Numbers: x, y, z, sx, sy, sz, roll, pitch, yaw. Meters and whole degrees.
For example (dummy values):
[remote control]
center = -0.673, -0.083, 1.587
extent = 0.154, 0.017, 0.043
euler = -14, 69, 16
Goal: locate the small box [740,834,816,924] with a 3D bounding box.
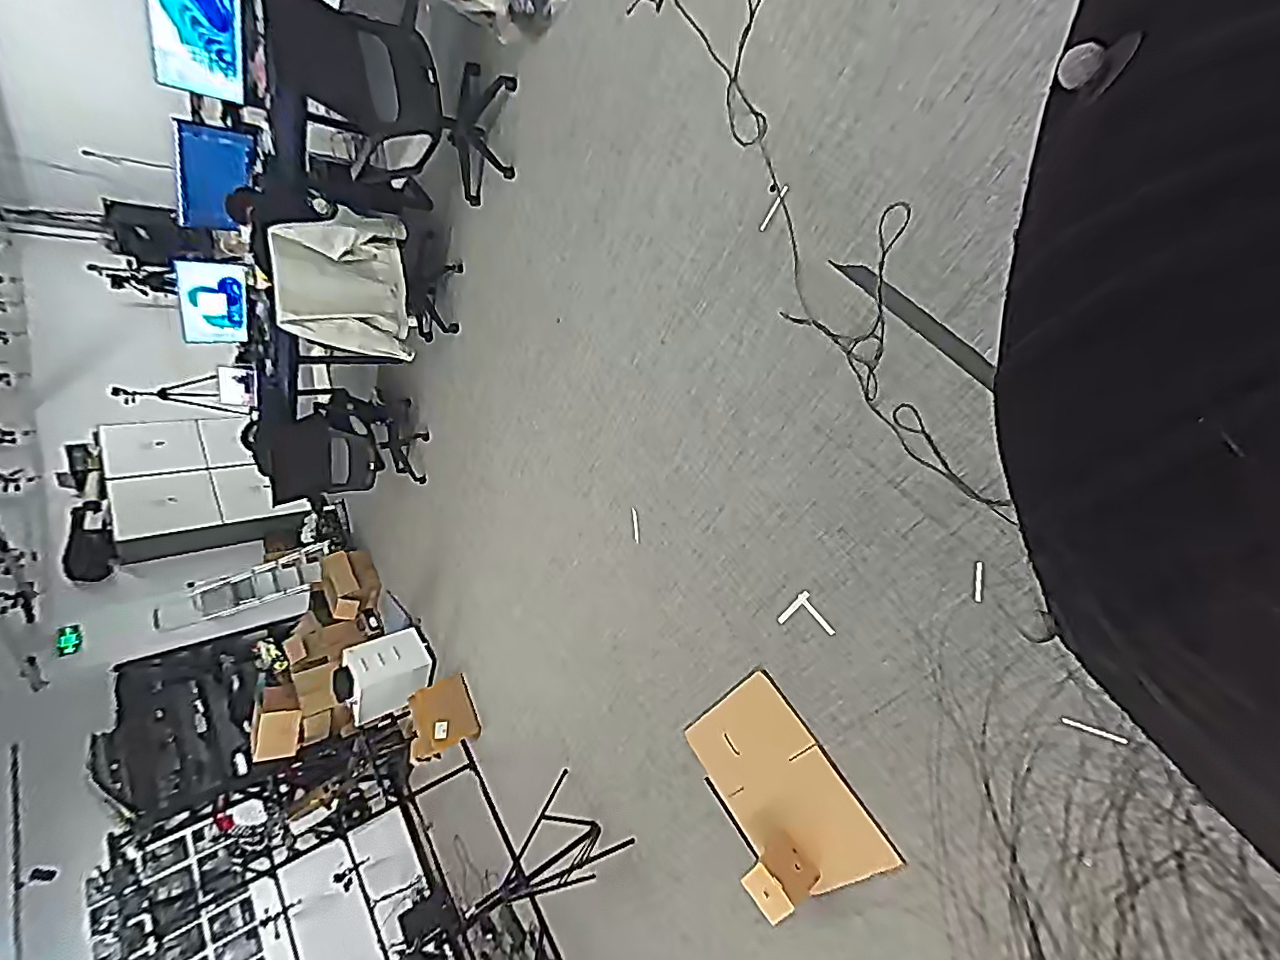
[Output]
[small box]
center = 0.495, 1.416, 1.926
extent = 0.168, 0.176, 0.179
euler = 43, 128, 31
